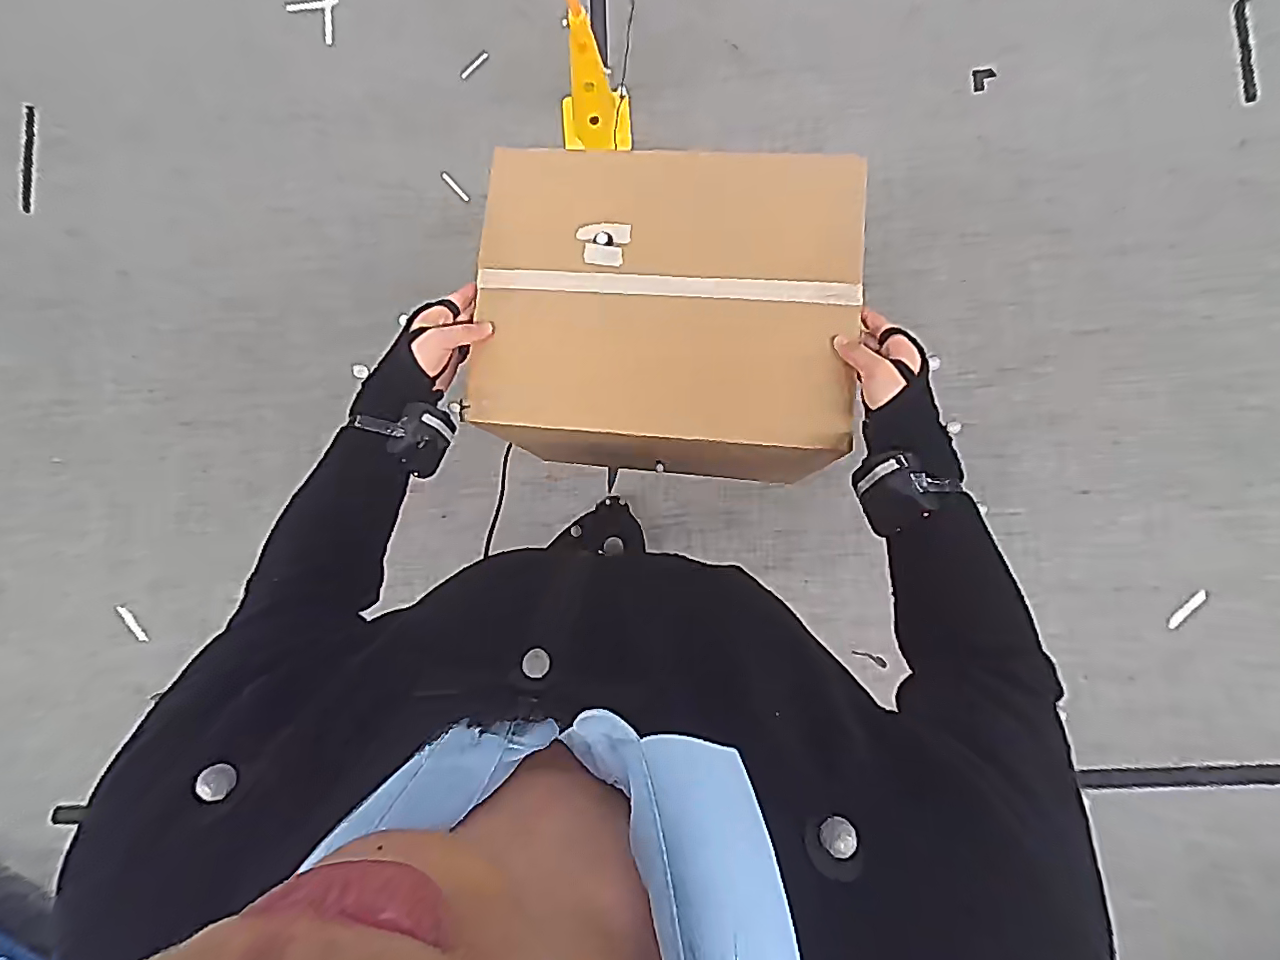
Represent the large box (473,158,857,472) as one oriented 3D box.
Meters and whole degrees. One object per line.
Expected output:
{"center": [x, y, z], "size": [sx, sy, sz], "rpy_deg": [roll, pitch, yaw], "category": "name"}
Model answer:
{"center": [0.042, -0.187, 0.728], "size": [0.408, 0.320, 0.320], "rpy_deg": [4, 83, 7], "category": "large box"}
